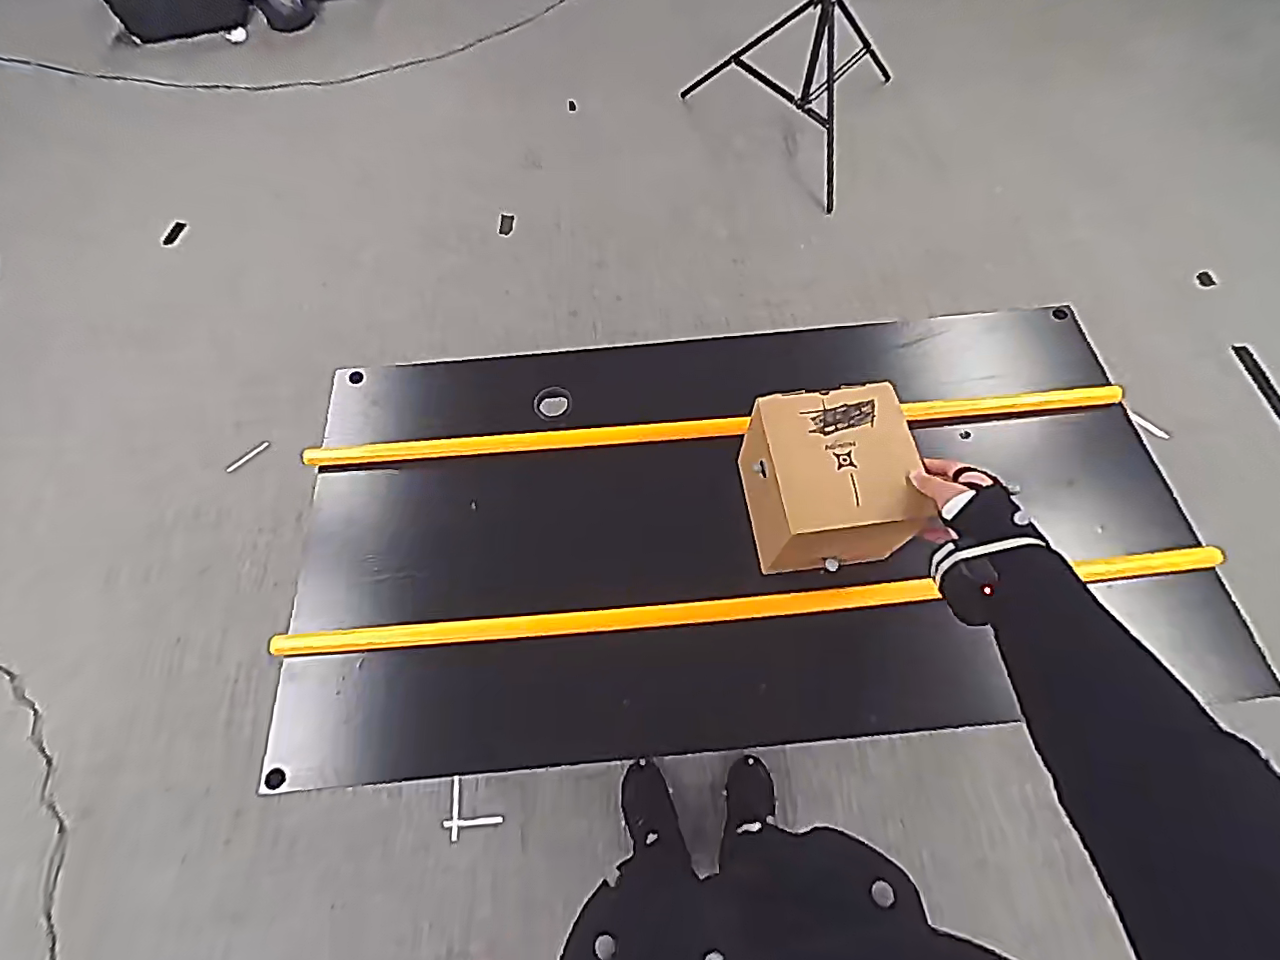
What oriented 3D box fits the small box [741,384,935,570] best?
[{"bbox_3d":[0.233,0.003,0.691,0.168,0.176,0.179,-7,66,-1],"label":"small box"}]
